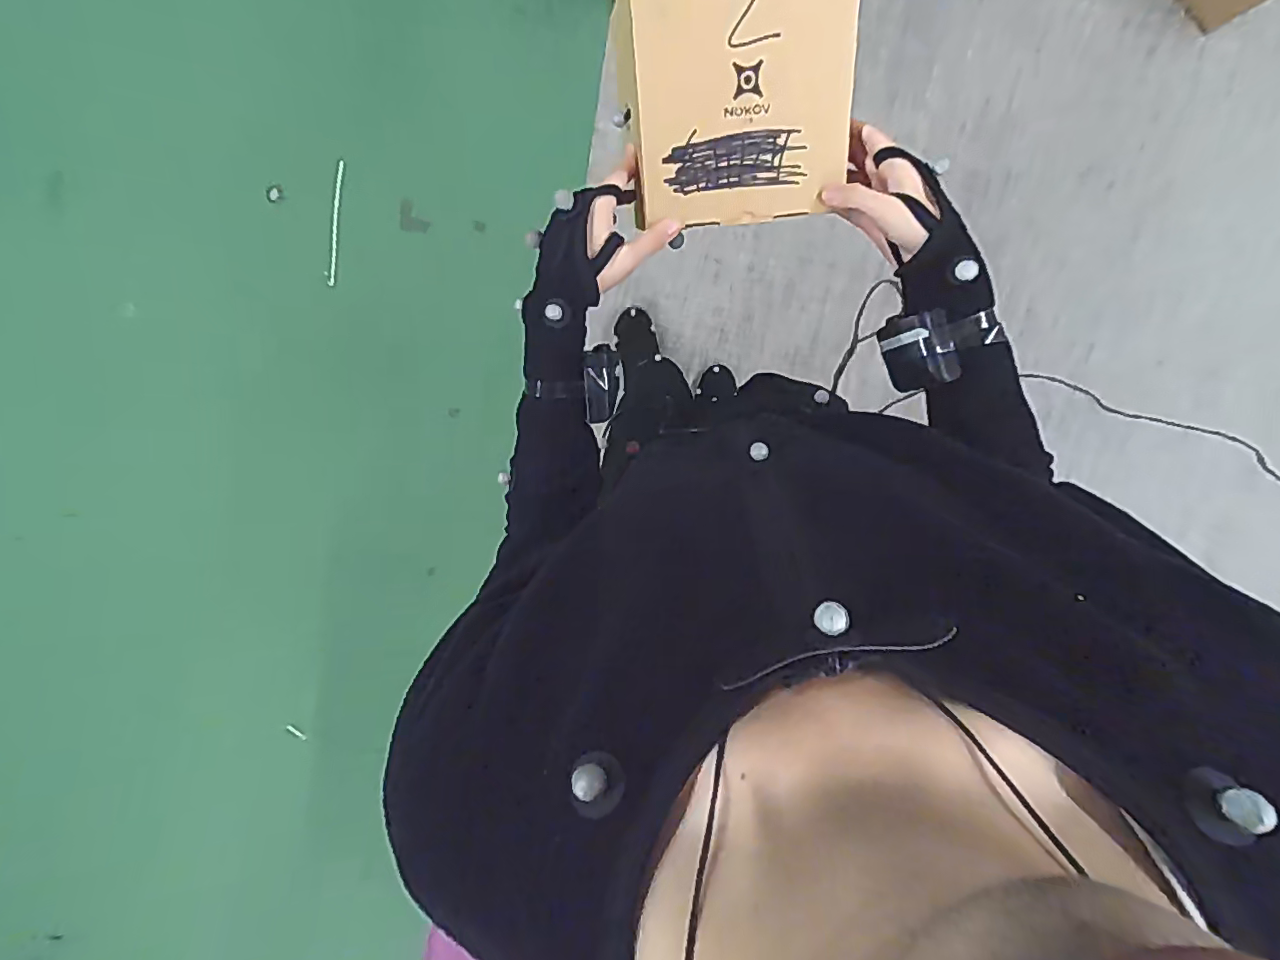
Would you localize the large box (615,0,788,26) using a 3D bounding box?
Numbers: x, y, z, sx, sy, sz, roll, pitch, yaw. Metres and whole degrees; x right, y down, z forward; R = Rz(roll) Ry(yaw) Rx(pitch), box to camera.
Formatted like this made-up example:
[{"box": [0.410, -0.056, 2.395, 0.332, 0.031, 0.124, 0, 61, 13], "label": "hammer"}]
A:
[{"box": [0.127, -1.215, 1.107, 0.408, 0.320, 0.320, -2, 100, 7], "label": "large box"}]
